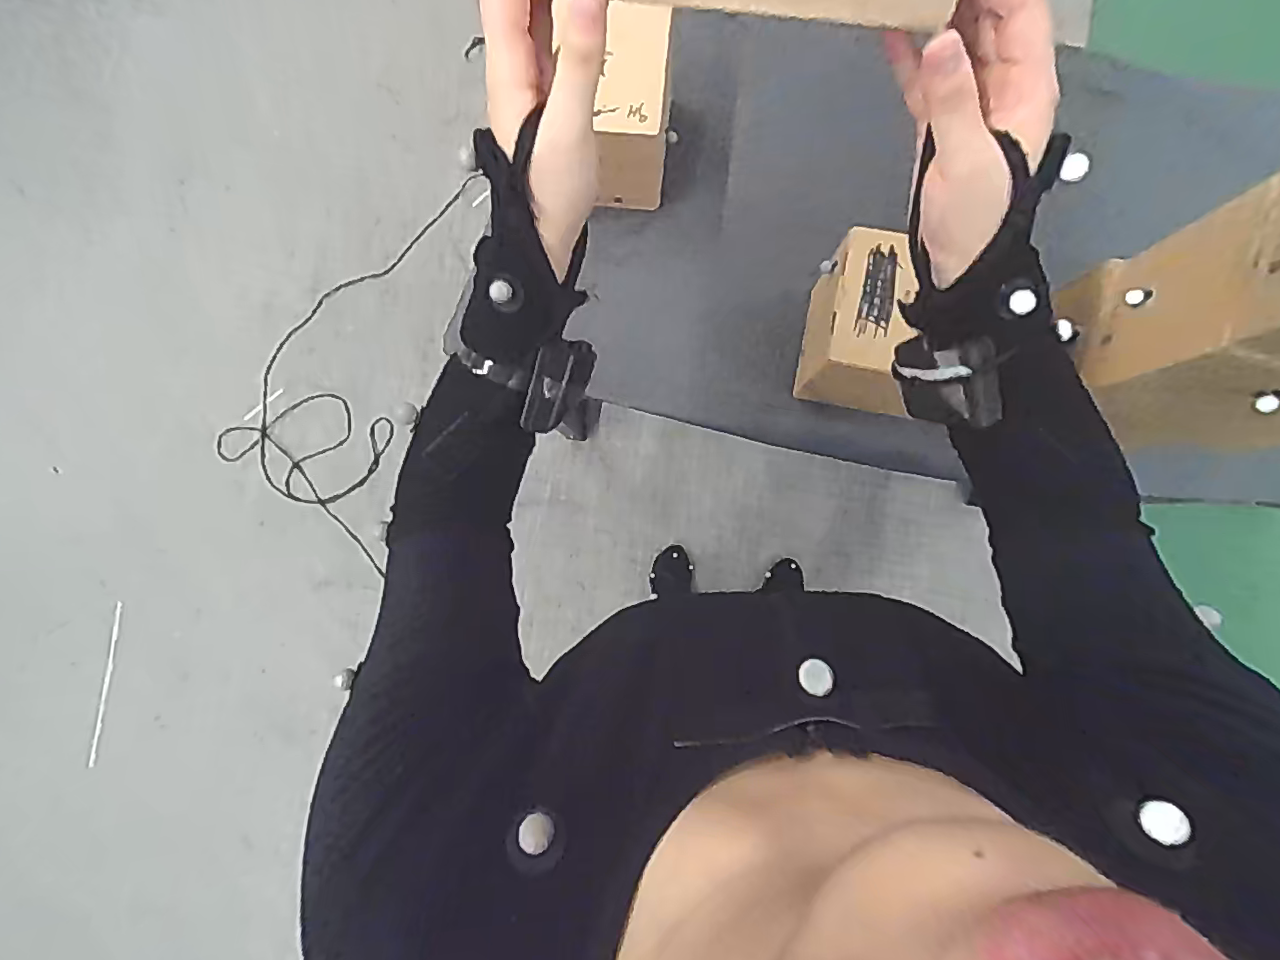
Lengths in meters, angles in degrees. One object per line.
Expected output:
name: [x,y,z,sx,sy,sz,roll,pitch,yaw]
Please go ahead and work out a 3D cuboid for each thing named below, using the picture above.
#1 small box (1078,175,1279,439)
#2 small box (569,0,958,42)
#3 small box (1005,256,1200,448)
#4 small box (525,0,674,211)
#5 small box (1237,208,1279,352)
small box: [0.586,-0.147,0.515,0.179,0.176,0.168,21,86,5]
small box: [0.063,-0.320,0.230,0.179,0.168,0.176,6,52,0]
small box: [0.596,-0.148,0.678,0.168,0.176,0.179,10,86,5]
small box: [-0.047,-0.500,0.732,0.168,0.176,0.179,6,87,3]
small box: [0.581,-0.162,0.351,0.179,0.176,0.168,23,86,6]
